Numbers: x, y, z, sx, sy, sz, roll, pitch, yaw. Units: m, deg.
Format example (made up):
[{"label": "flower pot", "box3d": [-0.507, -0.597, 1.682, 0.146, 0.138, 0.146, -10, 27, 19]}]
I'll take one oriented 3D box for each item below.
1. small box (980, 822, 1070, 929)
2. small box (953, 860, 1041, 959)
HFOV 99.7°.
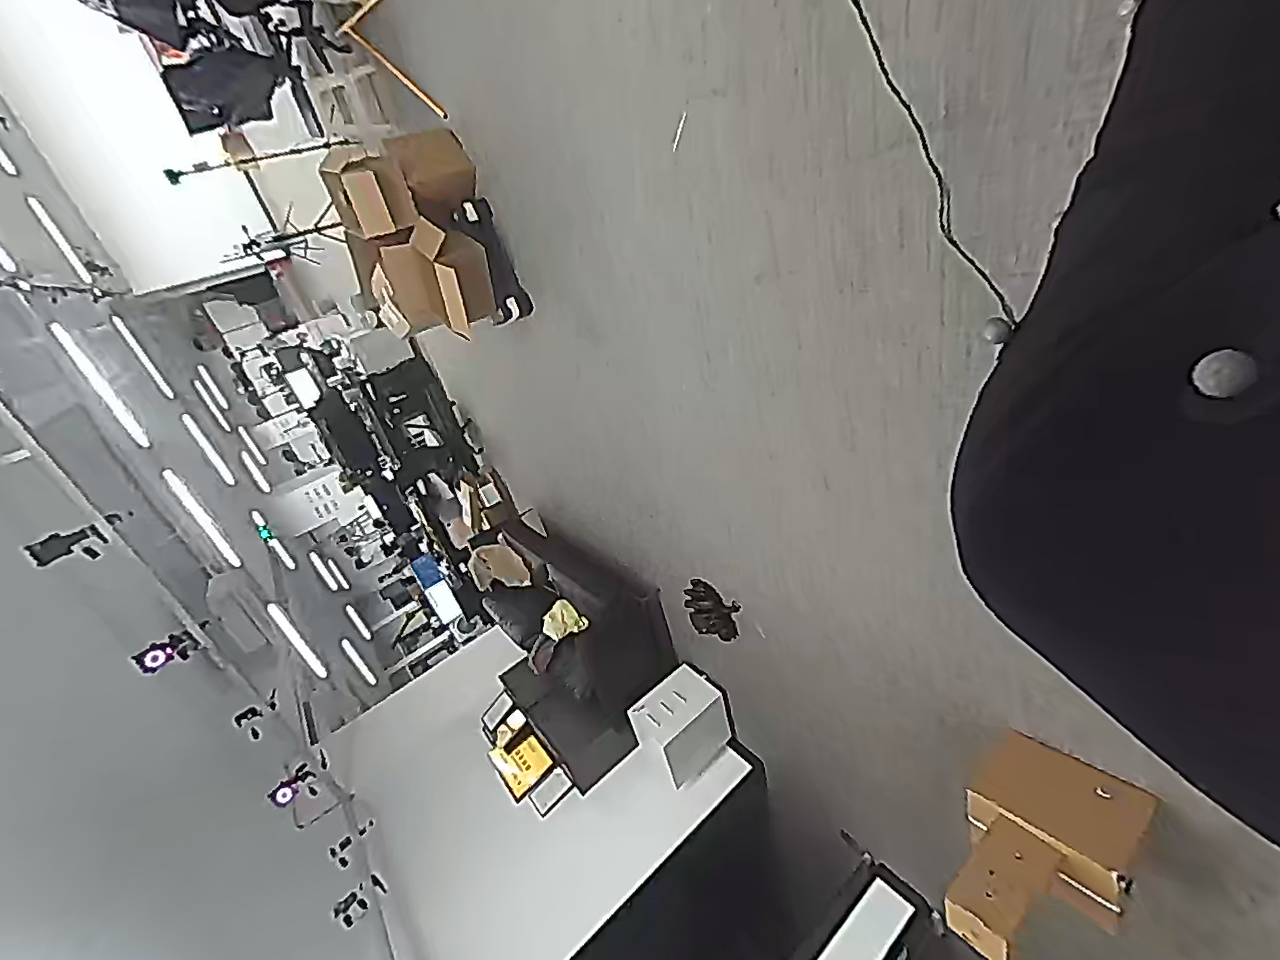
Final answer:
[{"label": "small box", "box3d": [1.166, 1.190, 1.648, 0.179, 0.176, 0.168, 20, 134, 50]}, {"label": "small box", "box3d": [1.042, 1.272, 1.580, 0.168, 0.176, 0.179, 19, 133, 52]}]
